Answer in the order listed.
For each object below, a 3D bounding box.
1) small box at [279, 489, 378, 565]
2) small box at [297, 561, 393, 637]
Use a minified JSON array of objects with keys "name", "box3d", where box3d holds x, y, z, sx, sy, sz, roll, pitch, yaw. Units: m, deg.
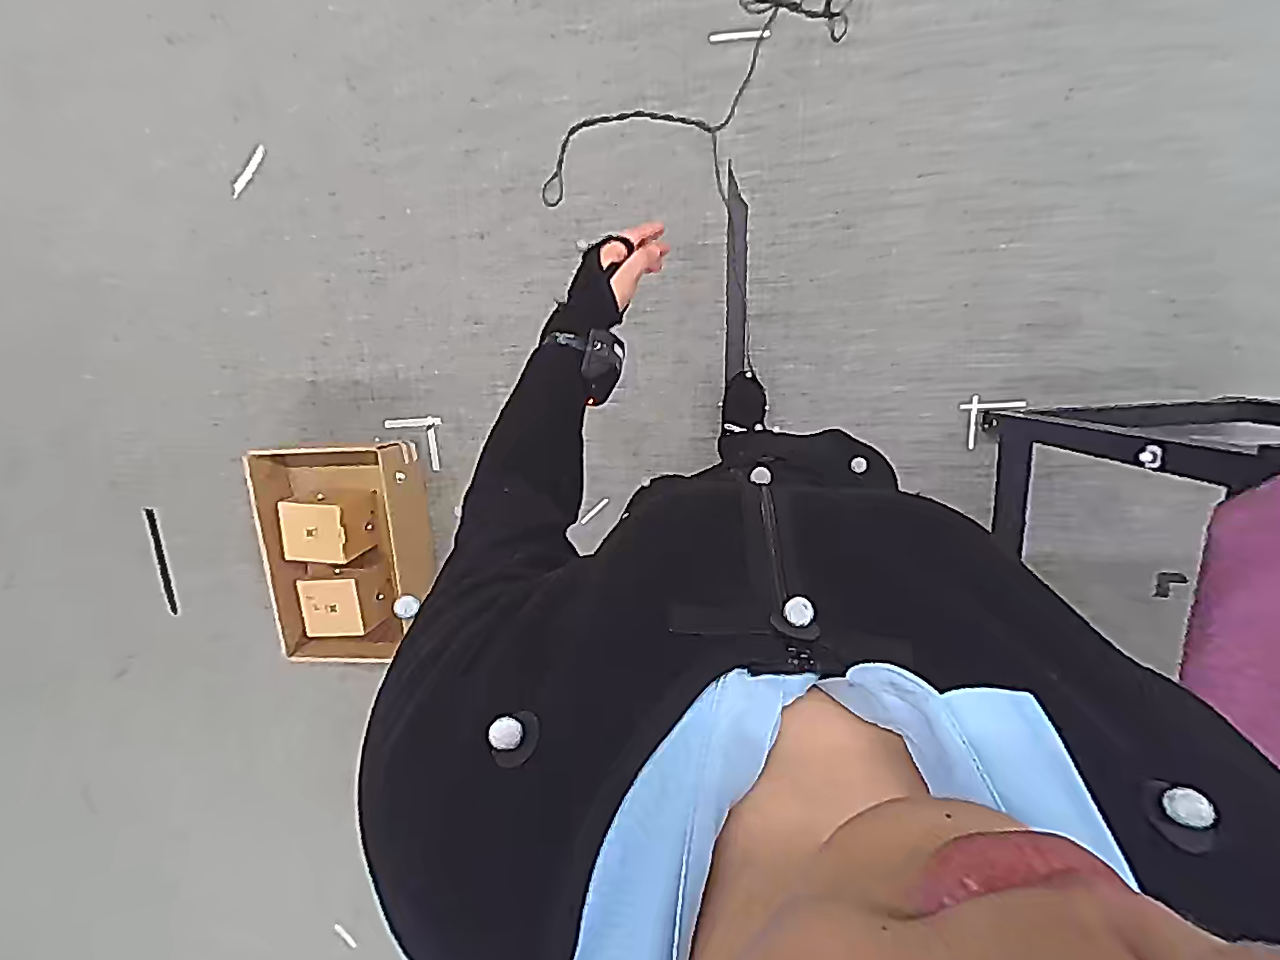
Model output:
[{"name":"small box","box3d":[-0.866,0.126,1.516,0.179,0.176,0.168,4,103,6]},{"name":"small box","box3d":[-0.836,0.338,1.555,0.179,0.176,0.168,-3,100,7]}]
